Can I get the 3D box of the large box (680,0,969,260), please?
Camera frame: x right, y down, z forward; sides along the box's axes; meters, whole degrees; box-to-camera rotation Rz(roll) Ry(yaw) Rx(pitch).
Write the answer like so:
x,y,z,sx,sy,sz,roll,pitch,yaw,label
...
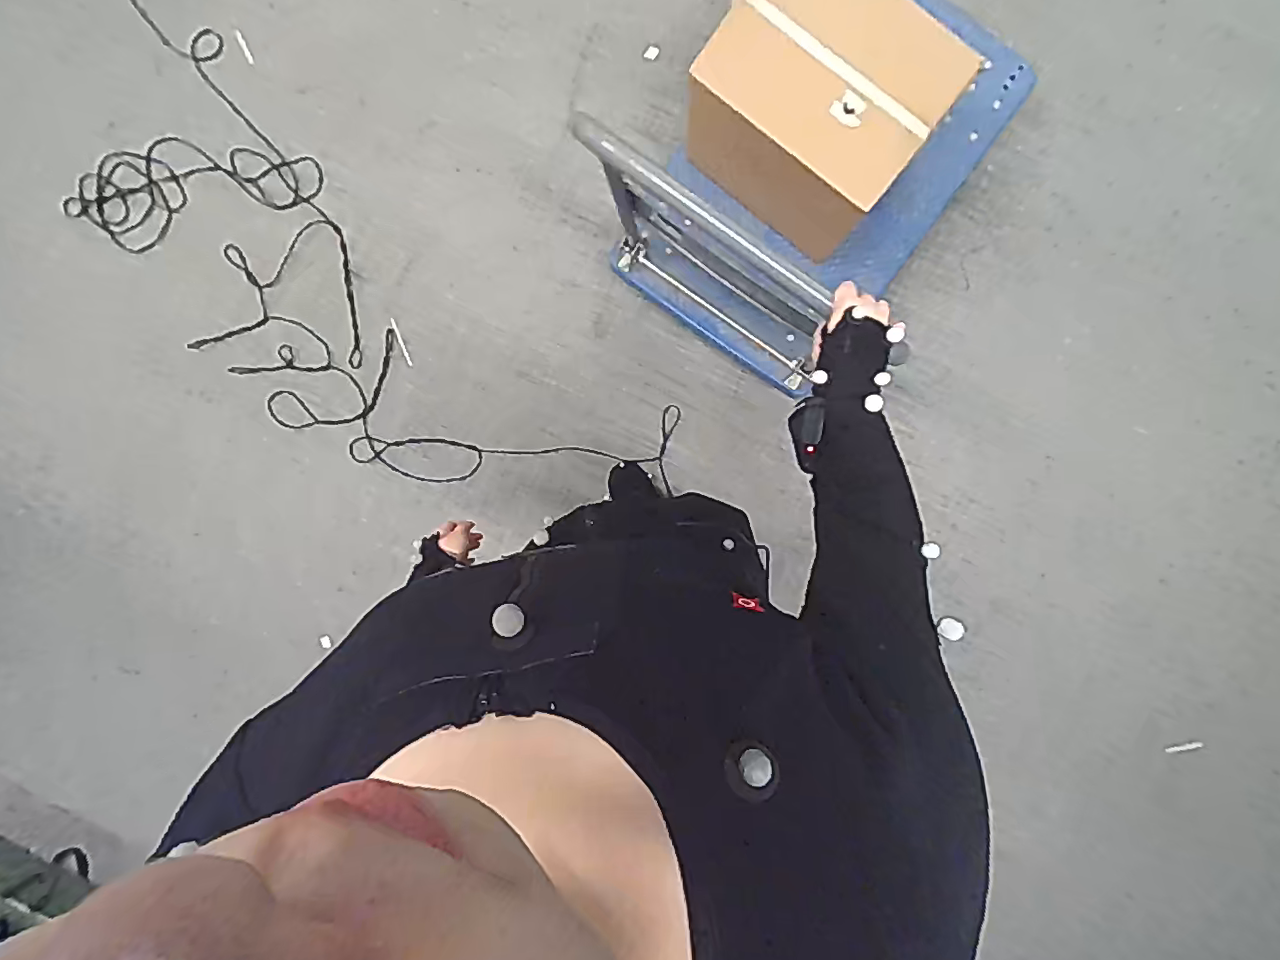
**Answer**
x,y,z,sx,sy,sz,roll,pitch,yaw,label
0.333,-0.734,1.103,0.408,0.320,0.320,37,96,-1,large box
